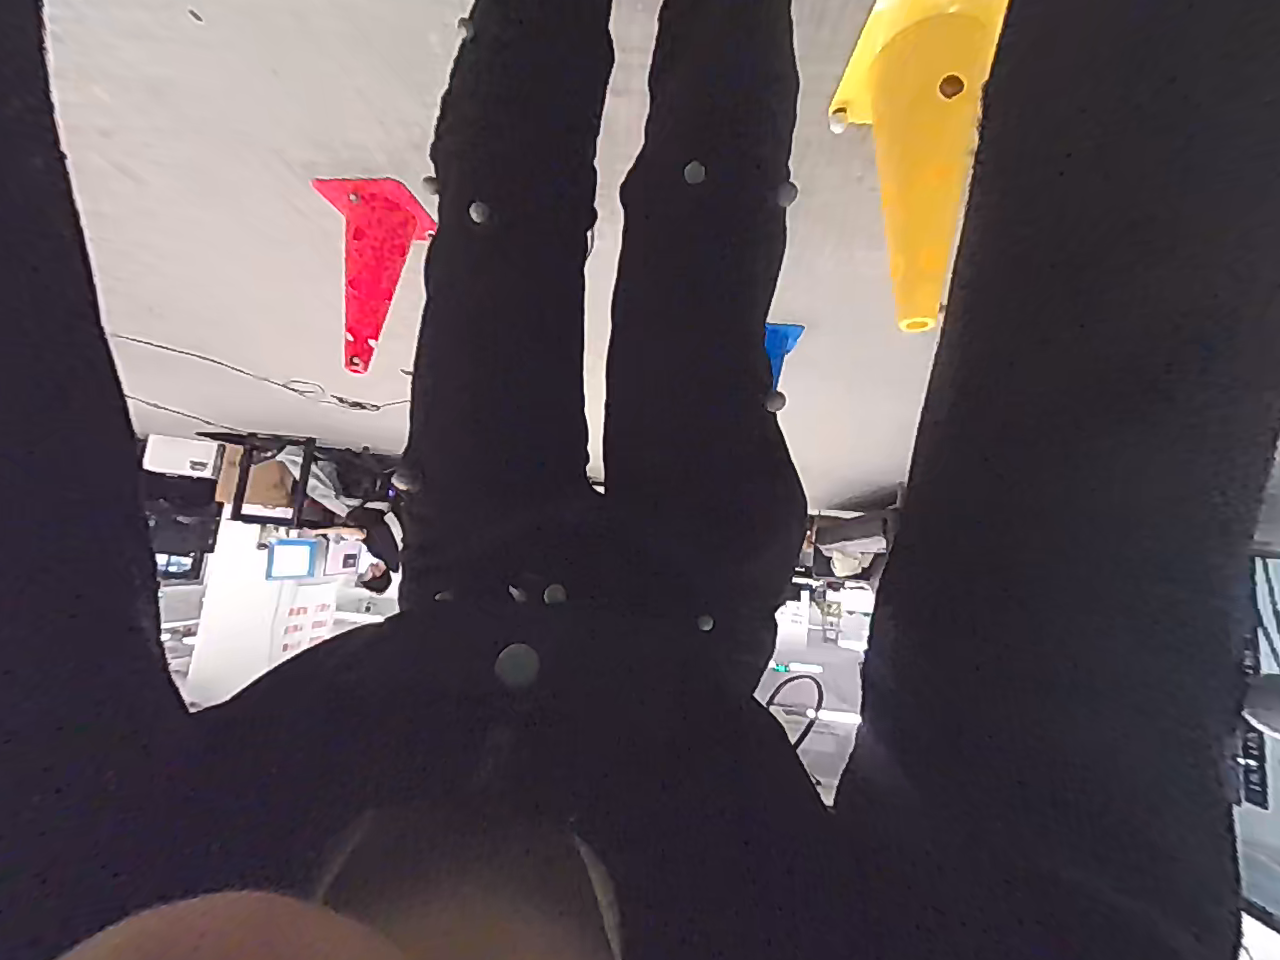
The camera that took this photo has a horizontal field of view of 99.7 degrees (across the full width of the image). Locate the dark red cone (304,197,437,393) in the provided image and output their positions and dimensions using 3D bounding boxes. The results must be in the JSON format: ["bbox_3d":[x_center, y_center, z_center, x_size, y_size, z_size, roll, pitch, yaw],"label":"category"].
[{"bbox_3d":[-0.576,-0.366,1.106,0.202,0.394,0.201,5,169,11],"label":"dark red cone"}]

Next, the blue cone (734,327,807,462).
[{"bbox_3d":[0.358,-0.241,1.545,0.192,0.380,0.193,5,172,3],"label":"blue cone"}]
